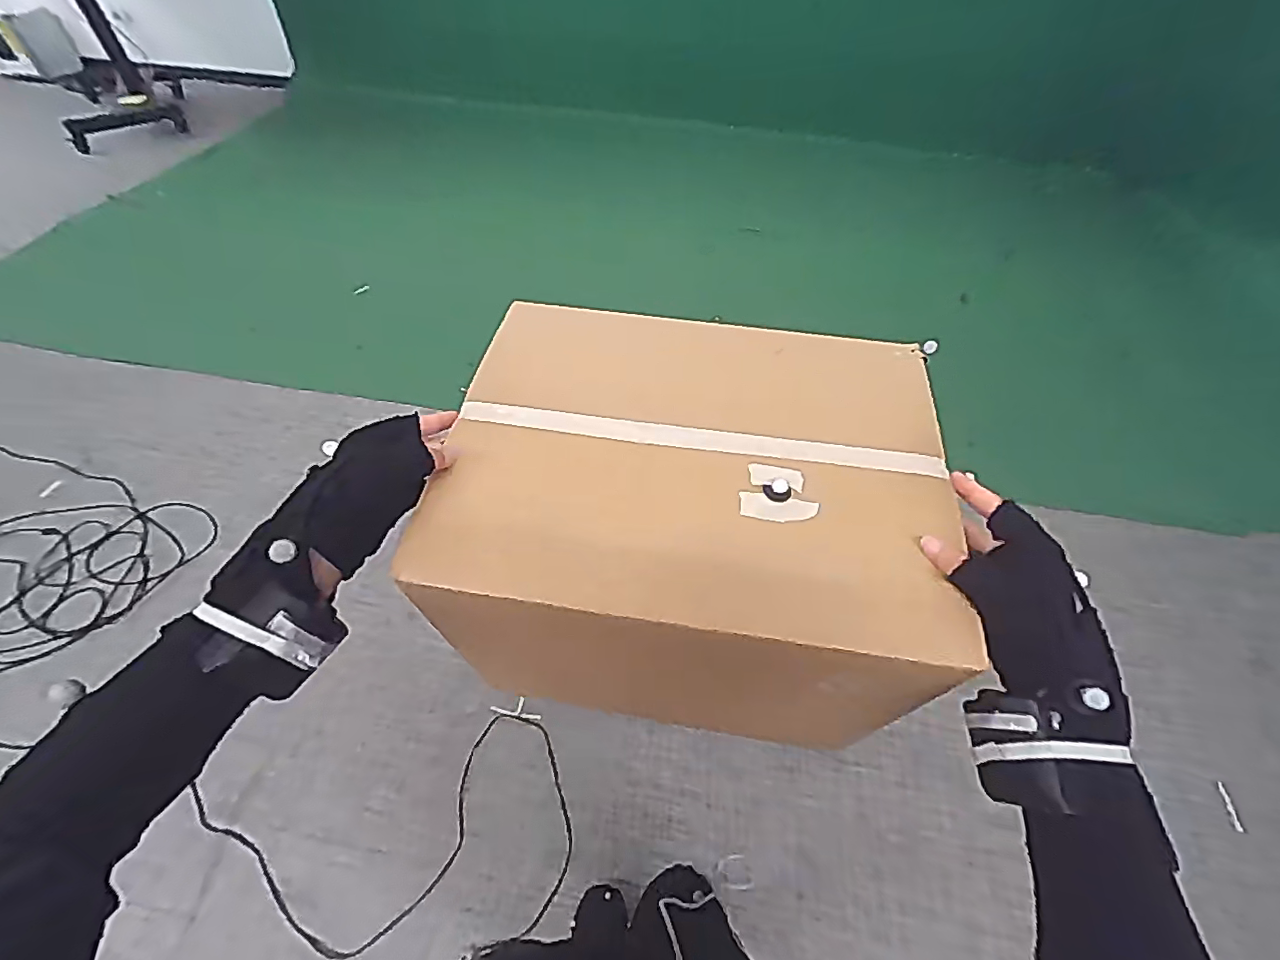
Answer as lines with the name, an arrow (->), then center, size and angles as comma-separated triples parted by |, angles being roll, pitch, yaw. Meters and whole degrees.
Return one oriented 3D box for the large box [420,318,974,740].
large box -> 0.049, 0.062, 0.586 | 0.408, 0.320, 0.320 | 8, 55, 4
